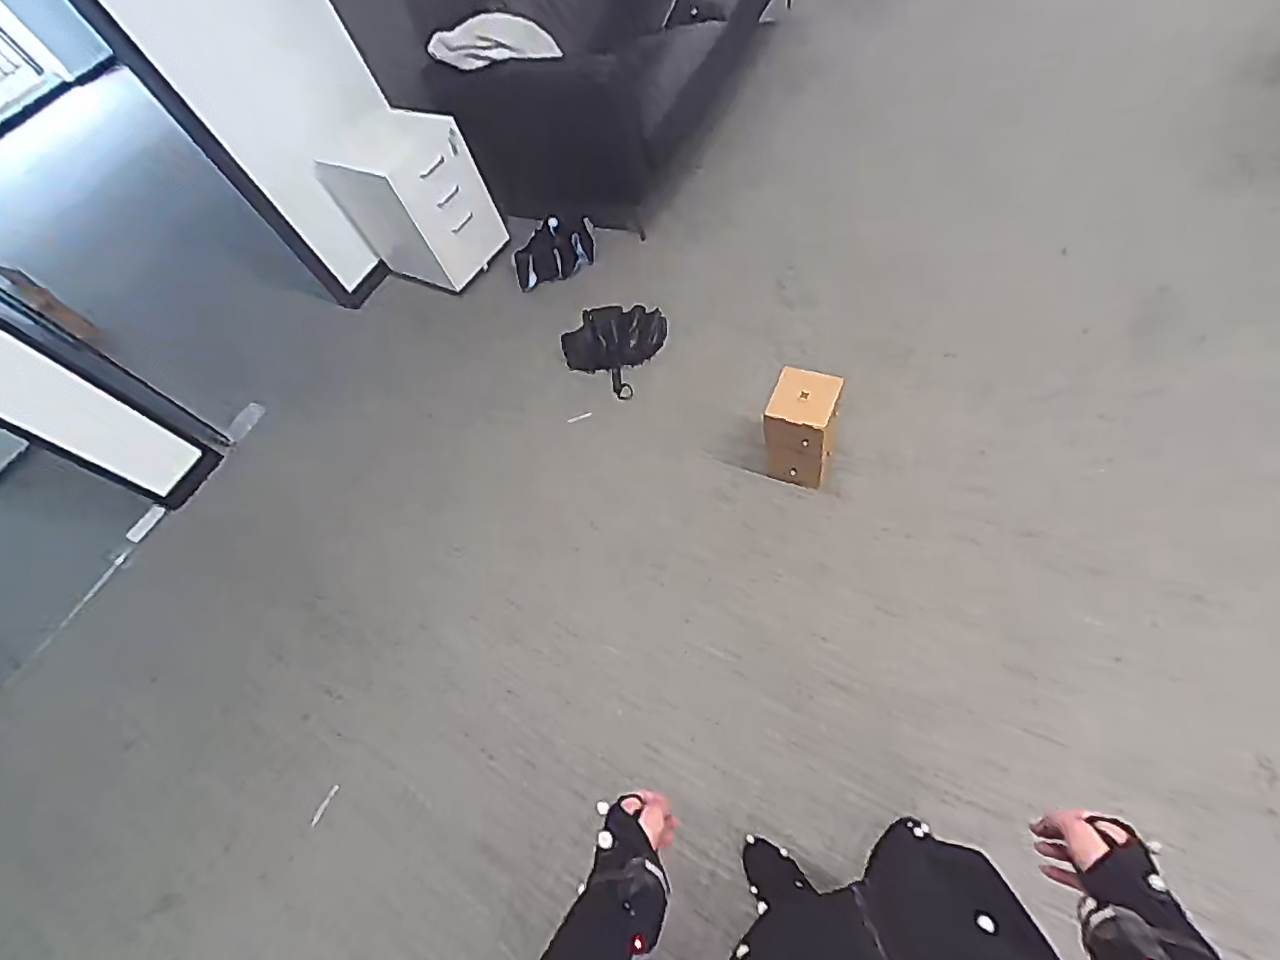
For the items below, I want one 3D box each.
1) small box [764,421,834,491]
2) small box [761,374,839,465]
[{"bbox_3d":[0.491,-0.089,1.667,0.168,0.176,0.179,15,65,22],"label":"small box"},{"bbox_3d":[0.452,-0.167,1.531,0.168,0.176,0.179,17,64,22],"label":"small box"}]
